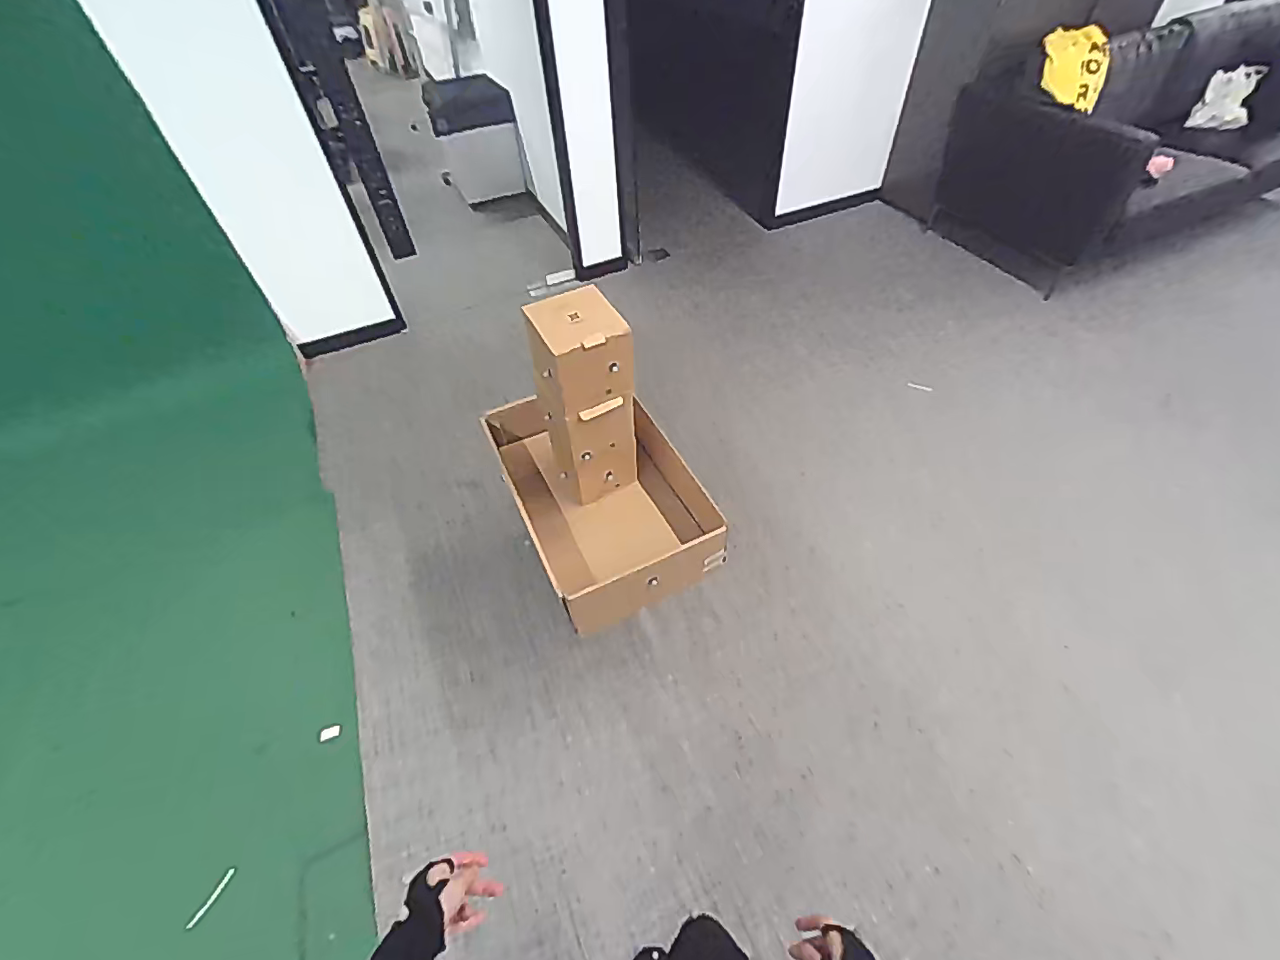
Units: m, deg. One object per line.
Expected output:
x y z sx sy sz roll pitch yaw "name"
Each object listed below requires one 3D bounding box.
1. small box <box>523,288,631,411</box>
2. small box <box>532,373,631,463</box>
-0.125 -0.265 1.132 0.168 0.176 0.179 -23 55 -17 "small box"
-0.129 -0.162 1.258 0.168 0.176 0.179 -26 56 -18 "small box"
